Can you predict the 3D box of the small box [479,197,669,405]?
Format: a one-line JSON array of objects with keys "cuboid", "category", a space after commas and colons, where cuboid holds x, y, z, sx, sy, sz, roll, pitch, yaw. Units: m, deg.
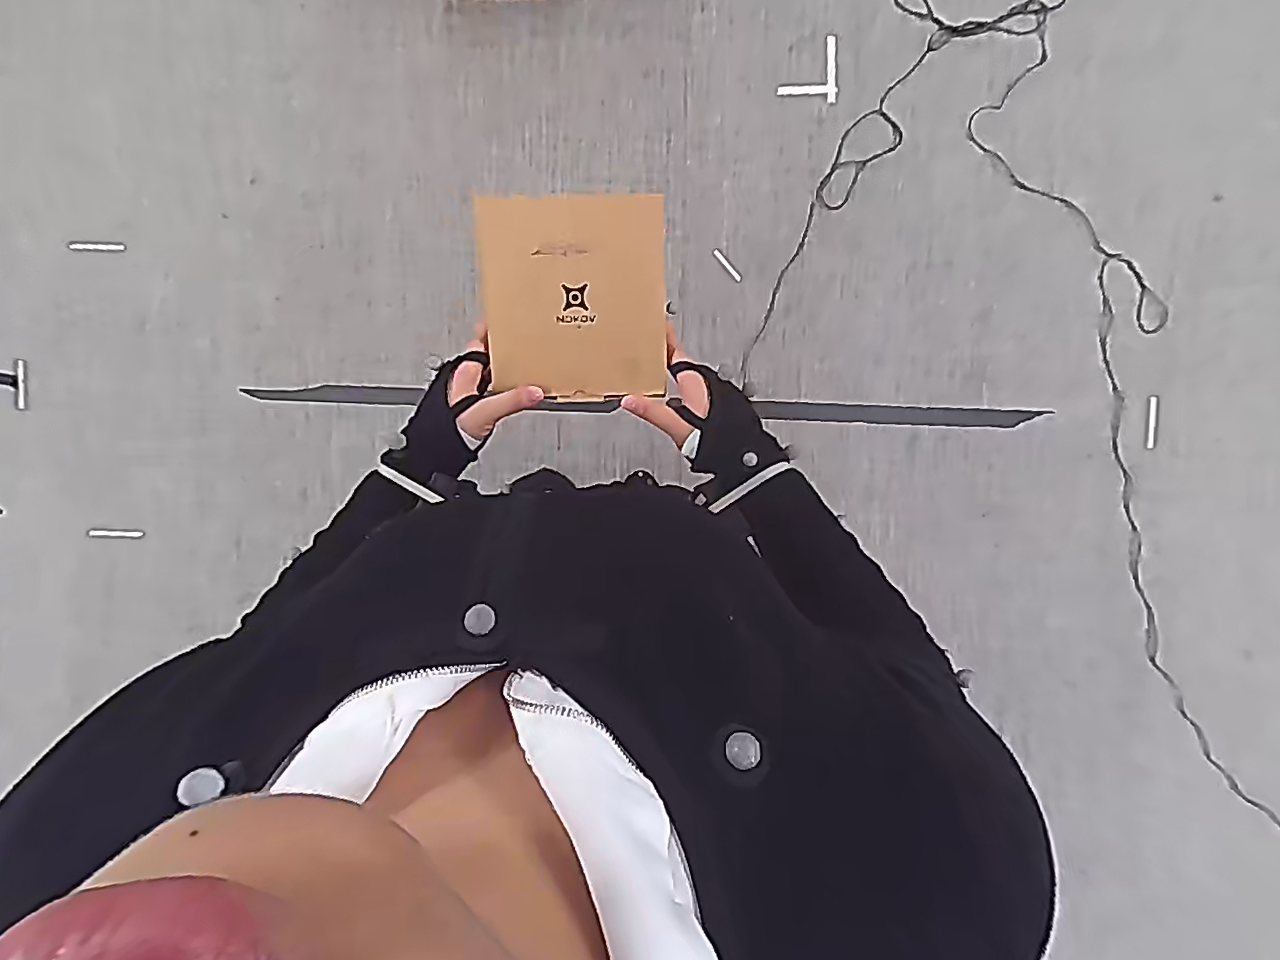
[{"cuboid": [-0.055, -0.176, 0.559, 0.168, 0.176, 0.179, -2, 104, -1], "category": "small box"}]
